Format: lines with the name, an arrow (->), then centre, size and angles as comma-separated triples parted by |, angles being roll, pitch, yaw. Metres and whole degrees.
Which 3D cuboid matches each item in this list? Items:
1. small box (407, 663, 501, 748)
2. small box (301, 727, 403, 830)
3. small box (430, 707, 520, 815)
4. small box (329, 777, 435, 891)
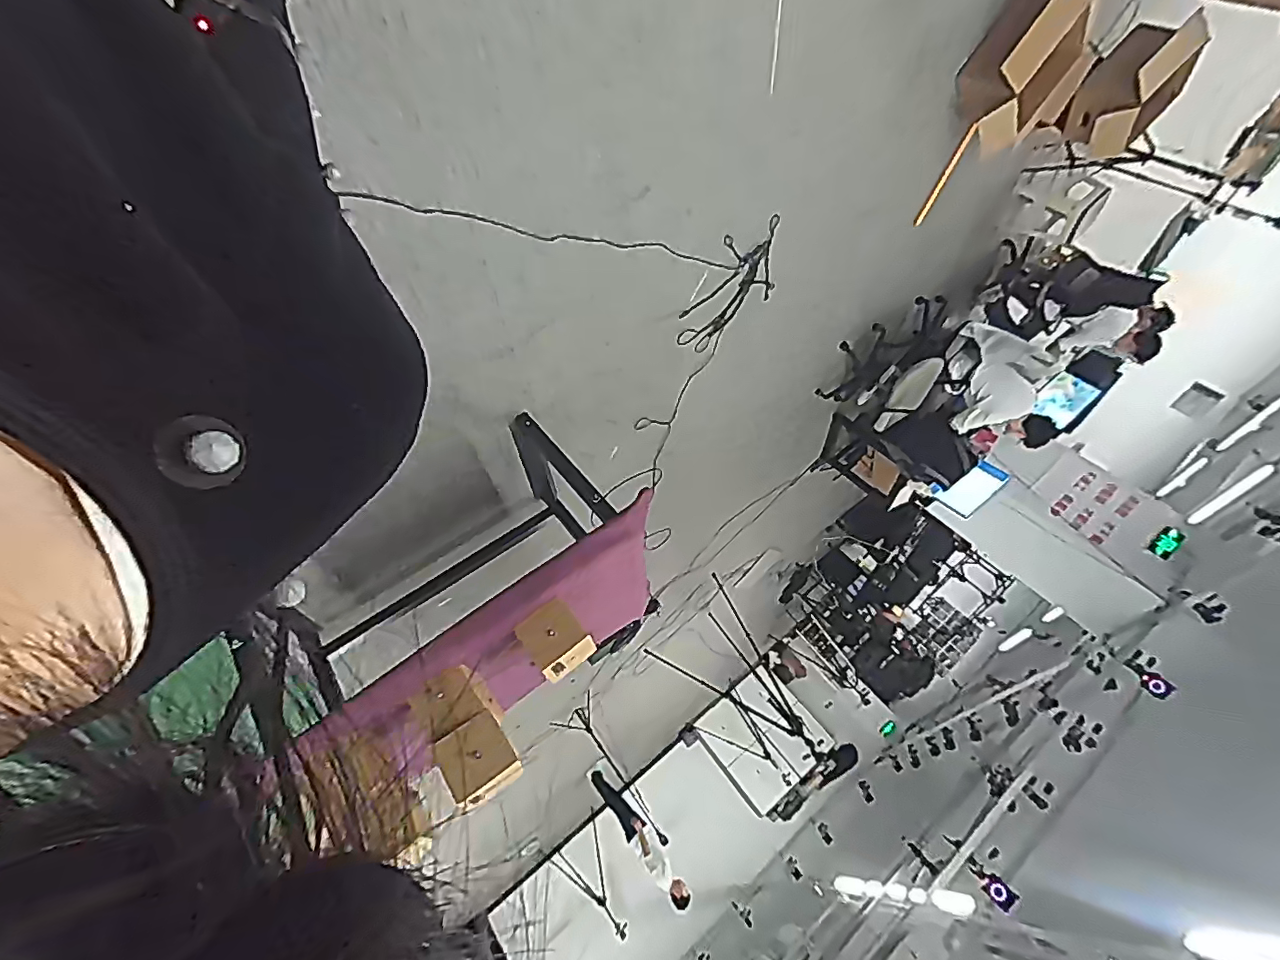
small box -> -0.536, 0.659, 1.564 | 0.168, 0.176, 0.179 | -37, 151, -14
small box -> -0.770, 0.799, 1.445 | 0.179, 0.176, 0.168 | -35, 150, -16
small box -> -0.448, 0.757, 1.461 | 0.179, 0.176, 0.168 | -30, 149, -27
small box -> -0.660, 0.899, 1.376 | 0.179, 0.176, 0.168 | -33, 149, -22
